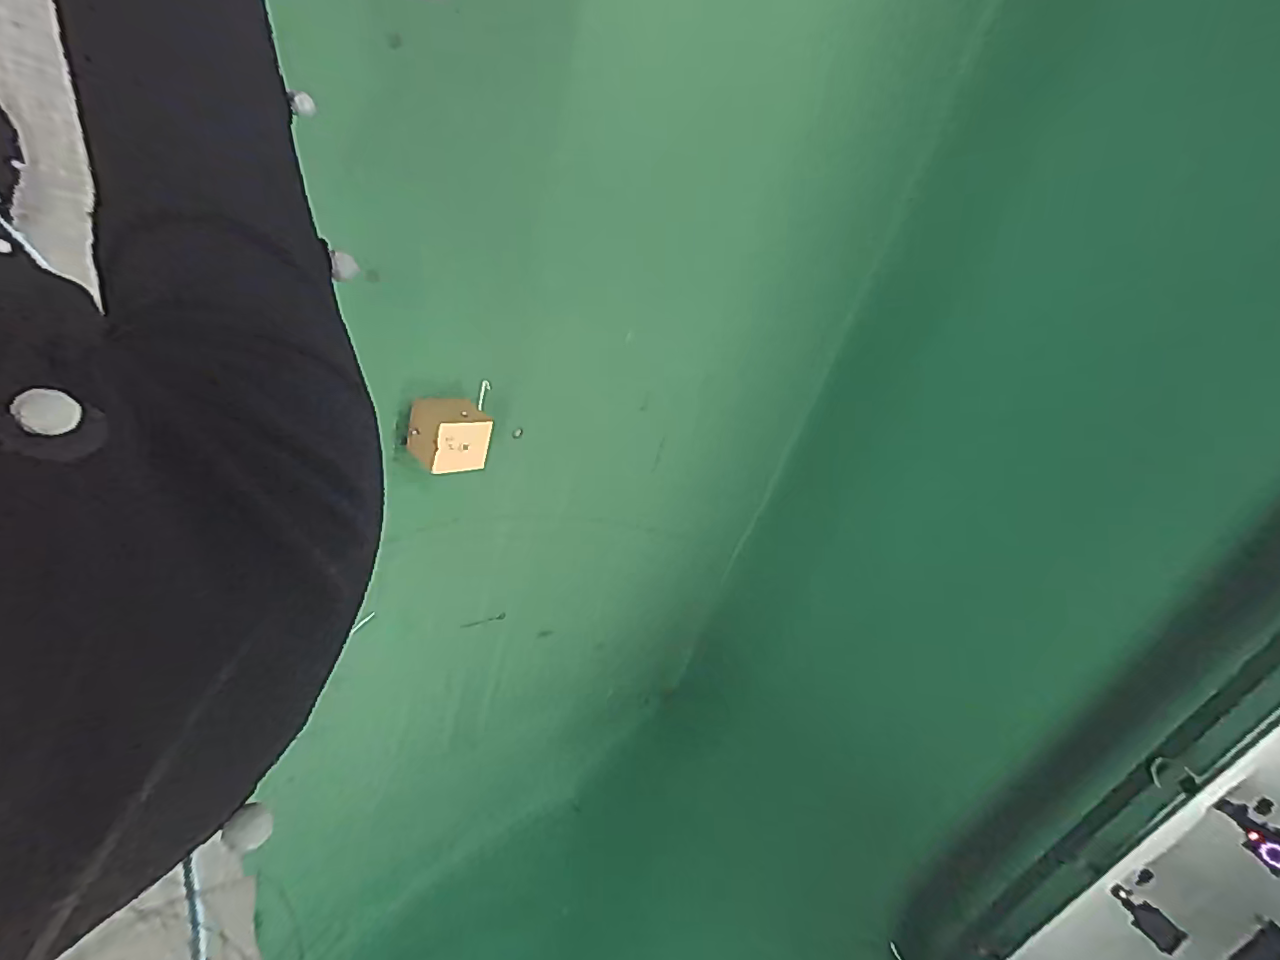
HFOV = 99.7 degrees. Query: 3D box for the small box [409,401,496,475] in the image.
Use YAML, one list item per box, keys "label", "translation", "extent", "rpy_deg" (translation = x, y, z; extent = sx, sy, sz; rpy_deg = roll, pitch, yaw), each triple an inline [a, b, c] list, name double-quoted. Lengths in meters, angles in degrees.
- label: "small box"
  translation: [-0.572, -0.133, 1.645]
  extent: [0.179, 0.176, 0.168]
  rpy_deg: [-10, 127, -47]
